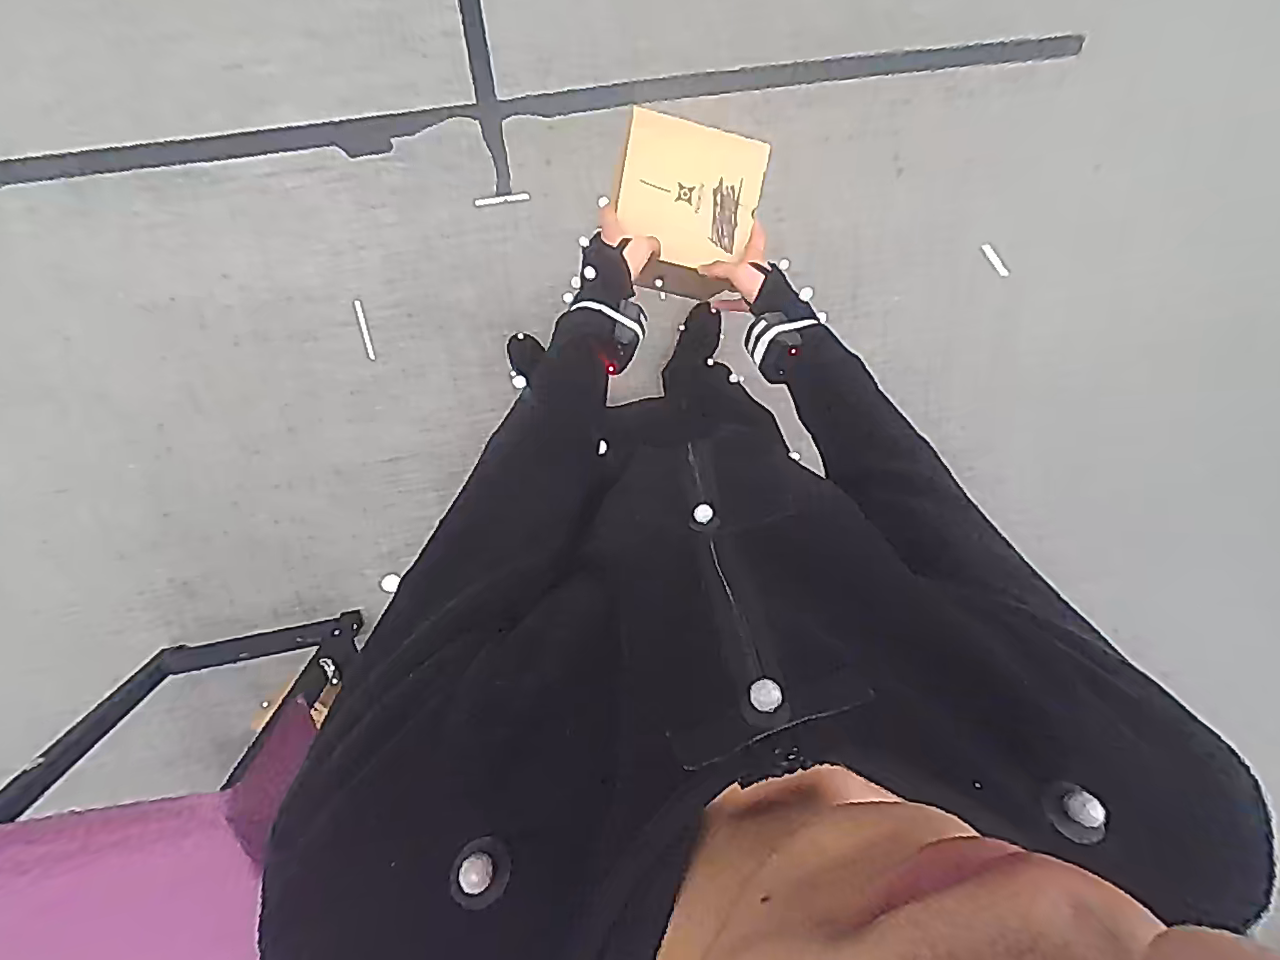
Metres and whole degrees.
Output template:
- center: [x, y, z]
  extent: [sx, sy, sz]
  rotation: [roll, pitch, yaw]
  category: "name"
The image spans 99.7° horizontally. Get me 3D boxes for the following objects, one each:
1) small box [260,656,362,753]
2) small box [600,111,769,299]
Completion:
- center: [-0.996, 0.682, 1.655]
  extent: [0.179, 0.176, 0.168]
  rotation: [-37, 110, 5]
  category: "small box"
- center: [0.050, -0.357, 0.741]
  extent: [0.179, 0.176, 0.168]
  rotation: [9, 97, -11]
  category: "small box"
